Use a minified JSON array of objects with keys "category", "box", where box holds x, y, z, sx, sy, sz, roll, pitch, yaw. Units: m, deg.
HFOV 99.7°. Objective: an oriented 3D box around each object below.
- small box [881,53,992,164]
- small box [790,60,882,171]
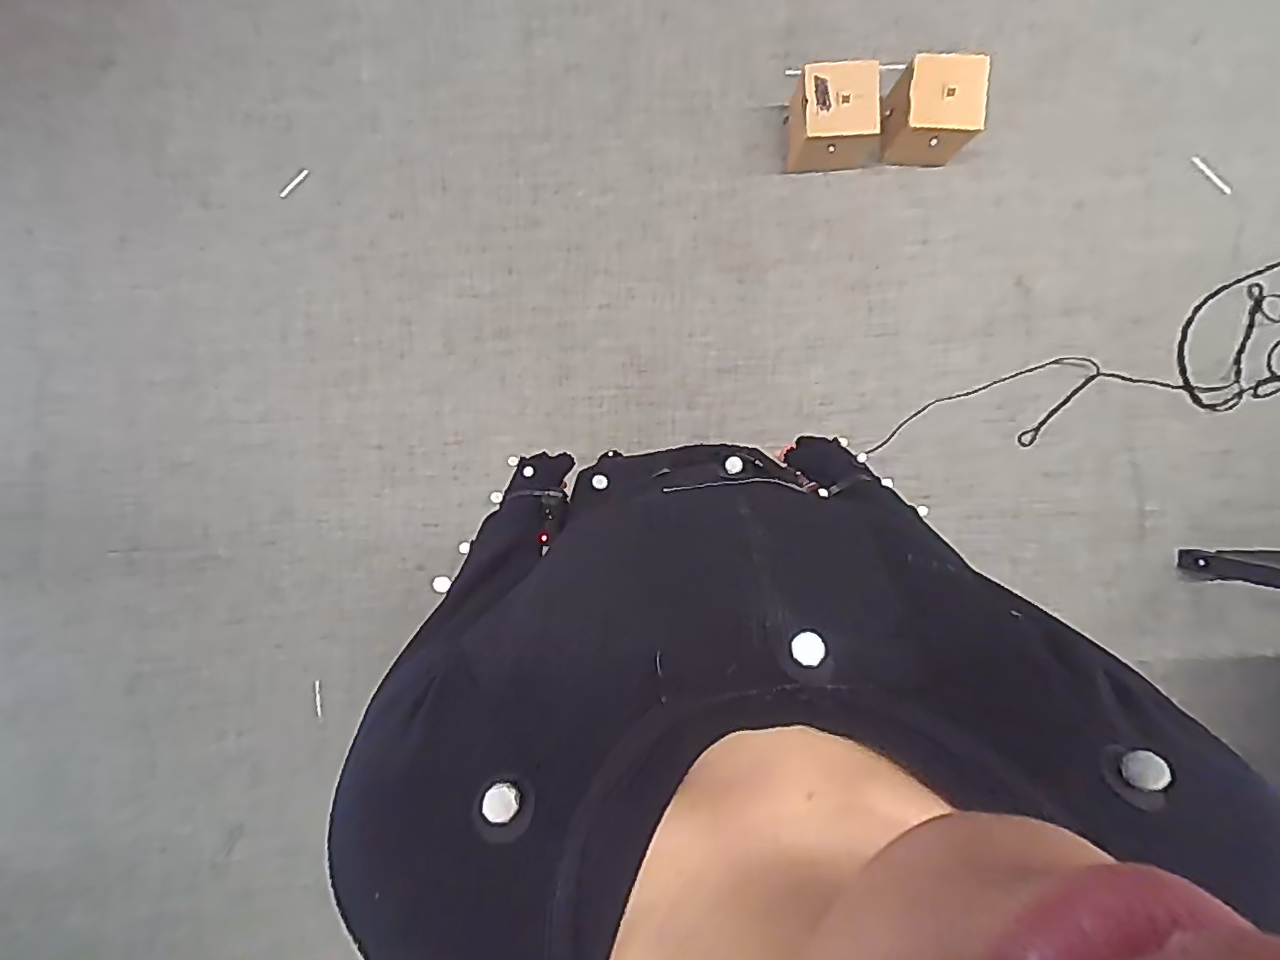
[{"category":"small box","box":[0.717,-0.899,1.323,0.179,0.176,0.168,3,94,2]},{"category":"small box","box":[0.472,-0.886,1.328,0.179,0.176,0.168,-2,94,1]}]
